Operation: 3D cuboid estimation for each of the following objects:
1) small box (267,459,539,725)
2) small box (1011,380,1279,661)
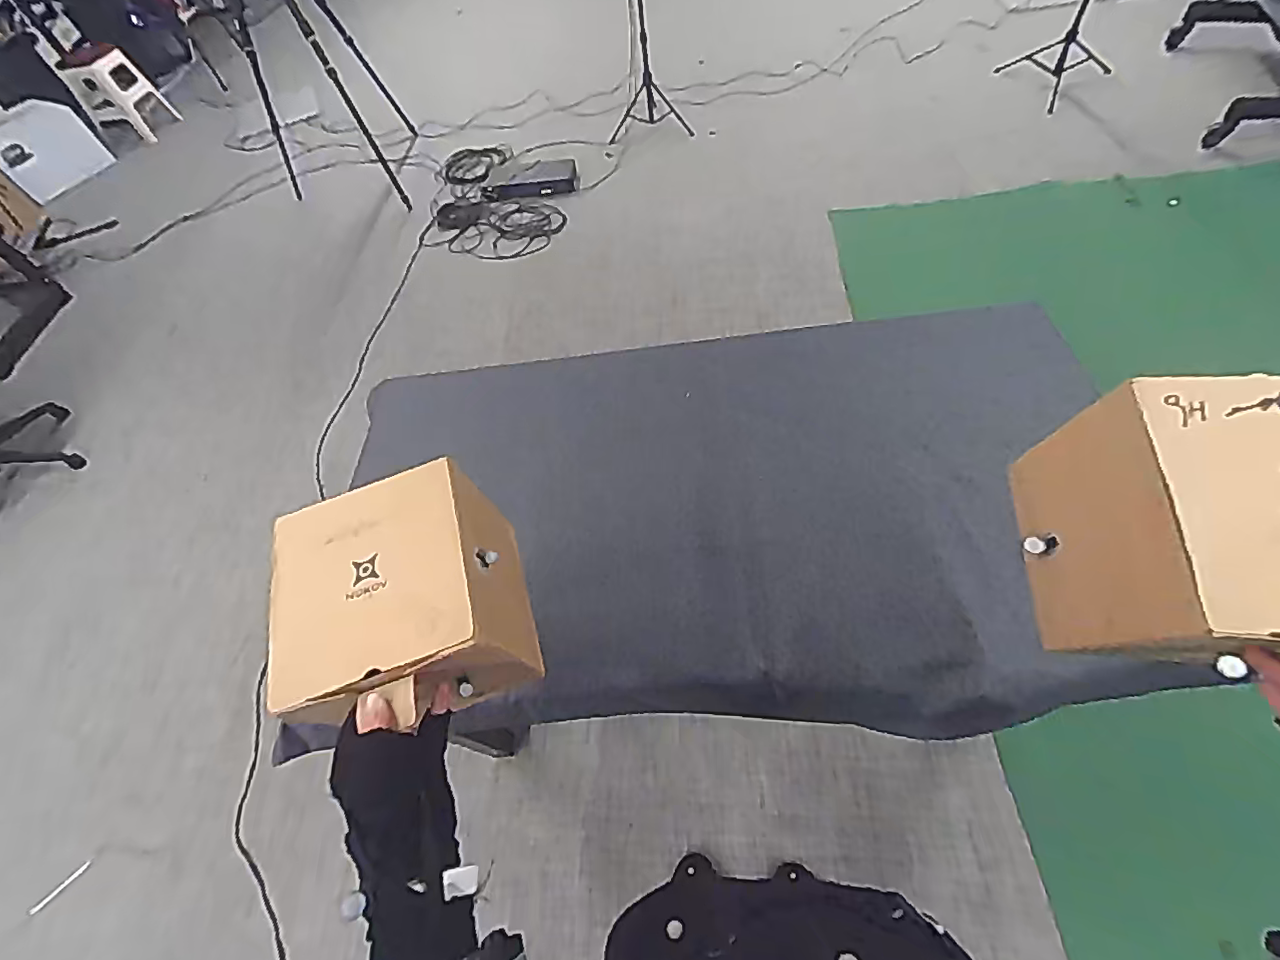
[{"bbox_3d":[-0.208,0.115,0.507,0.168,0.176,0.179,-20,59,-2],"label":"small box"},{"bbox_3d":[0.423,0.042,0.411,0.168,0.176,0.179,1,70,6],"label":"small box"}]
